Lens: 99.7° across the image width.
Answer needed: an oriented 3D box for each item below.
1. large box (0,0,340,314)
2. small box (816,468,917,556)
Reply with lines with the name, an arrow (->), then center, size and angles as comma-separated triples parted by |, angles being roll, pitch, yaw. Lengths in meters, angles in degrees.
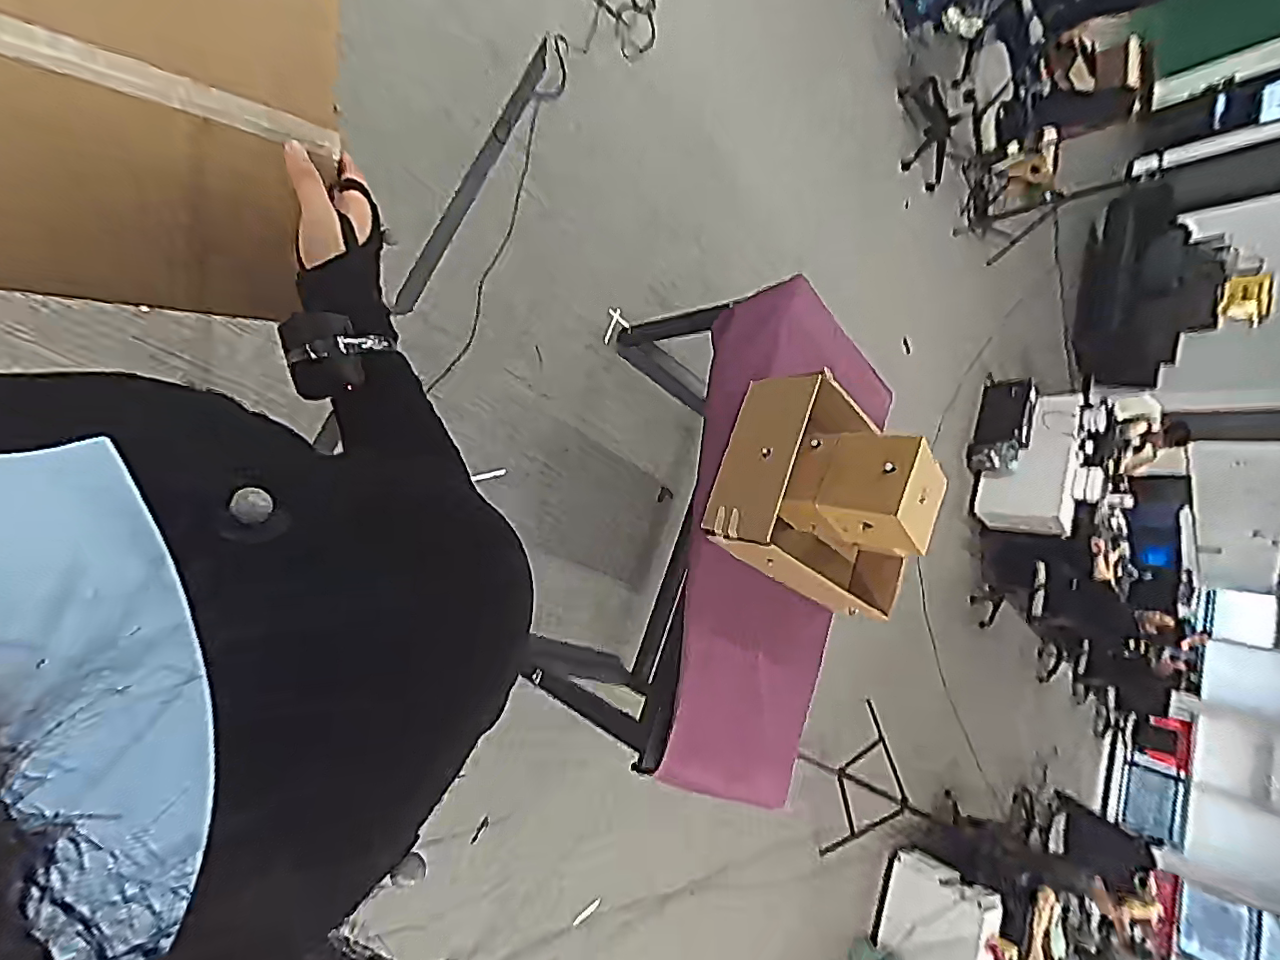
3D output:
large box -> -0.493, -0.345, 0.405 | 0.408, 0.320, 0.320 | -5, 121, -45
small box -> 0.581, 0.079, 1.397 | 0.168, 0.176, 0.179 | 27, 77, -38
